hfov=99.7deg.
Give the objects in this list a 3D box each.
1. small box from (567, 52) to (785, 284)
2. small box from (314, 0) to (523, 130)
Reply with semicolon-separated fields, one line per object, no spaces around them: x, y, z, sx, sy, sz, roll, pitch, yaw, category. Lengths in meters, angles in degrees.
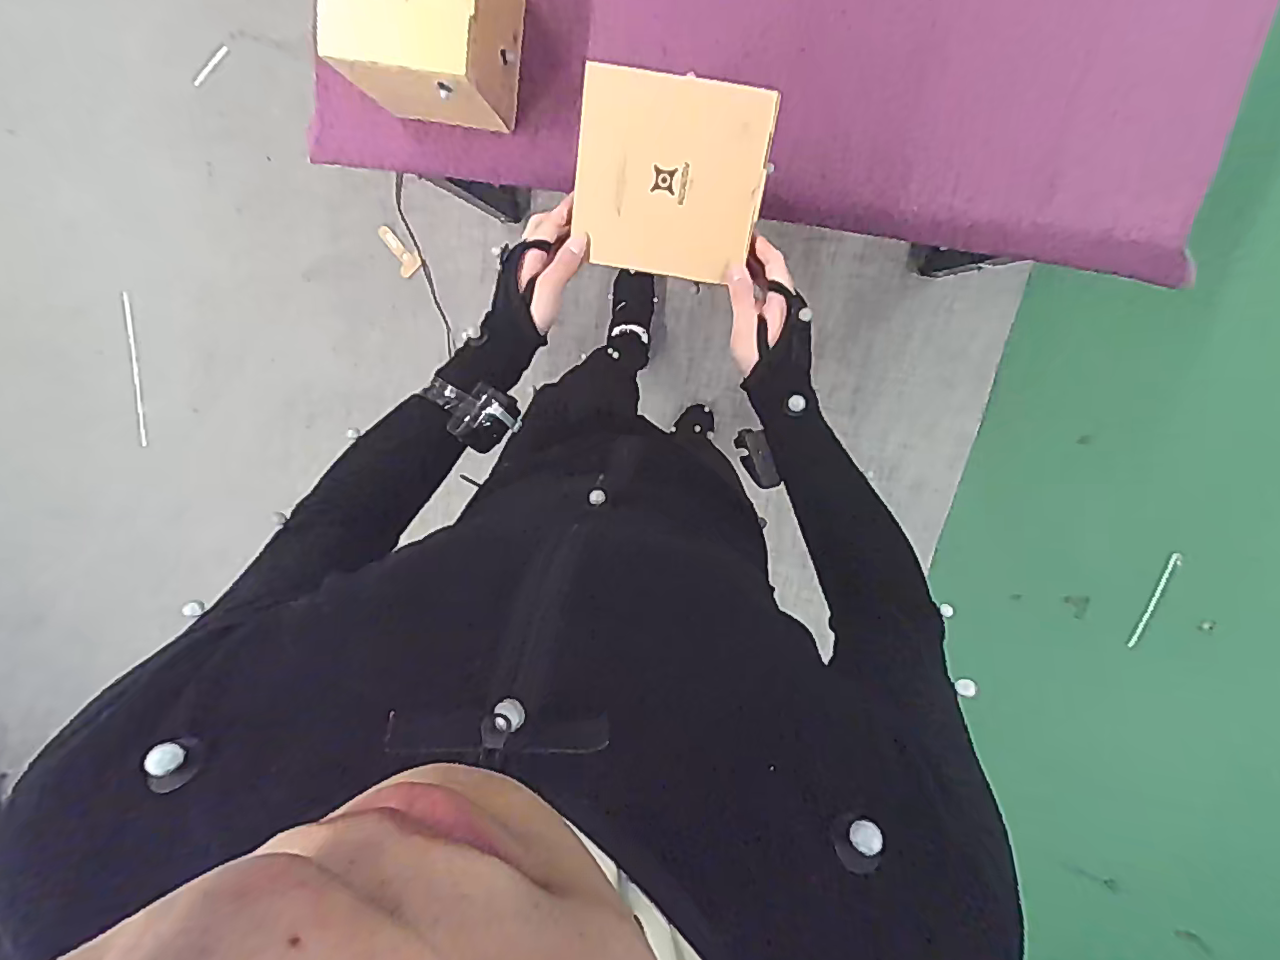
0.034;-0.310;0.570;0.179;0.176;0.168;11;111;1;small box
-0.257;-0.552;0.654;0.179;0.176;0.168;10;105;1;small box
